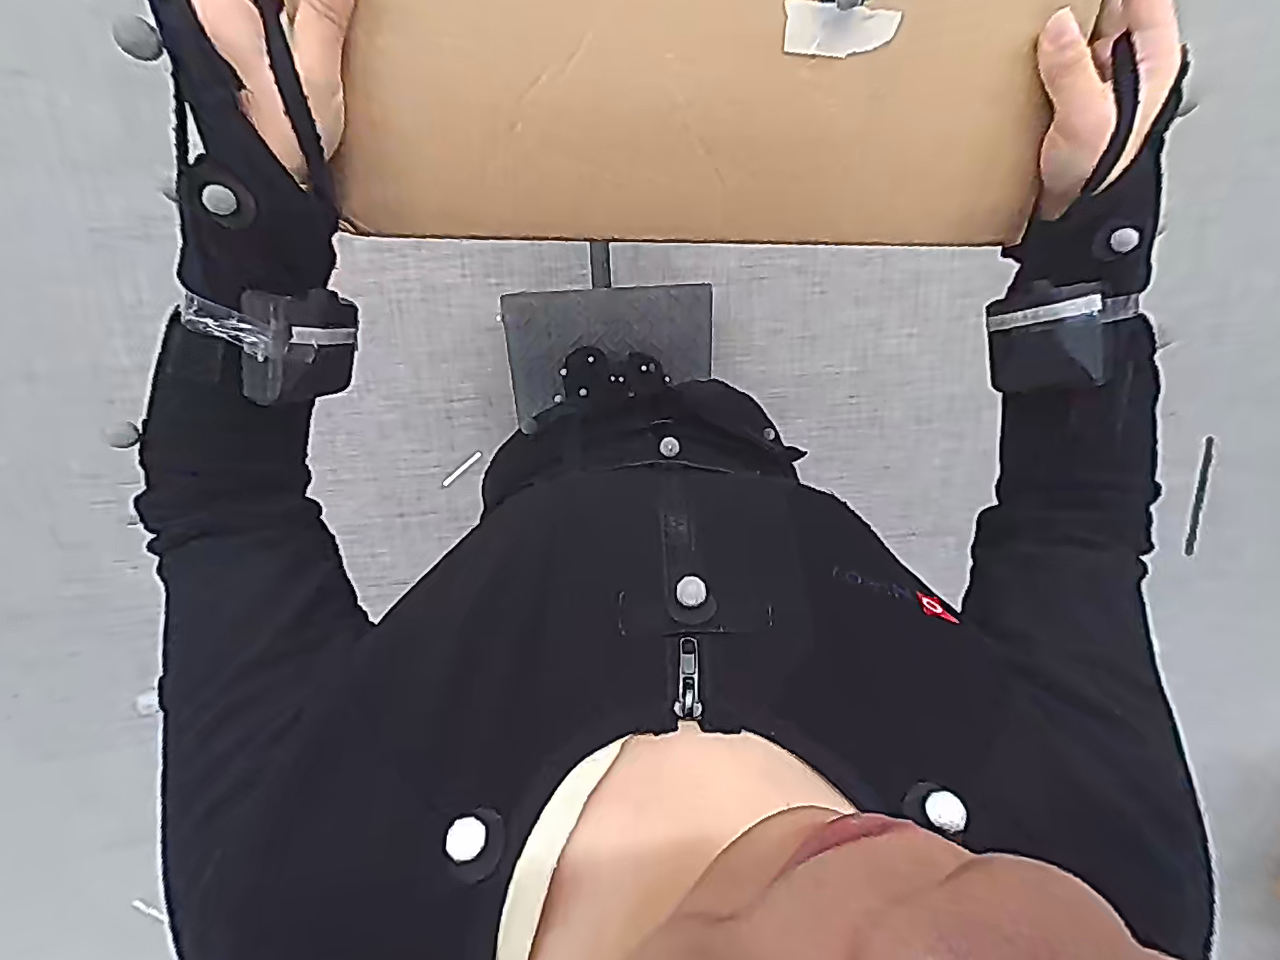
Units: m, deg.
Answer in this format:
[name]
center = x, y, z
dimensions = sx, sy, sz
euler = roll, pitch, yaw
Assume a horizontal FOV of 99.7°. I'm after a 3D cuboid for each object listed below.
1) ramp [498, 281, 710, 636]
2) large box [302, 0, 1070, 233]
[ramp]
center = -0.059, 0.003, 1.446
dimensions = 0.509, 0.206, 0.991
euler = -6, 105, -4
[large box]
center = 0.018, -0.357, 0.385
dimensions = 0.408, 0.320, 0.320
euler = -1, 119, -5
